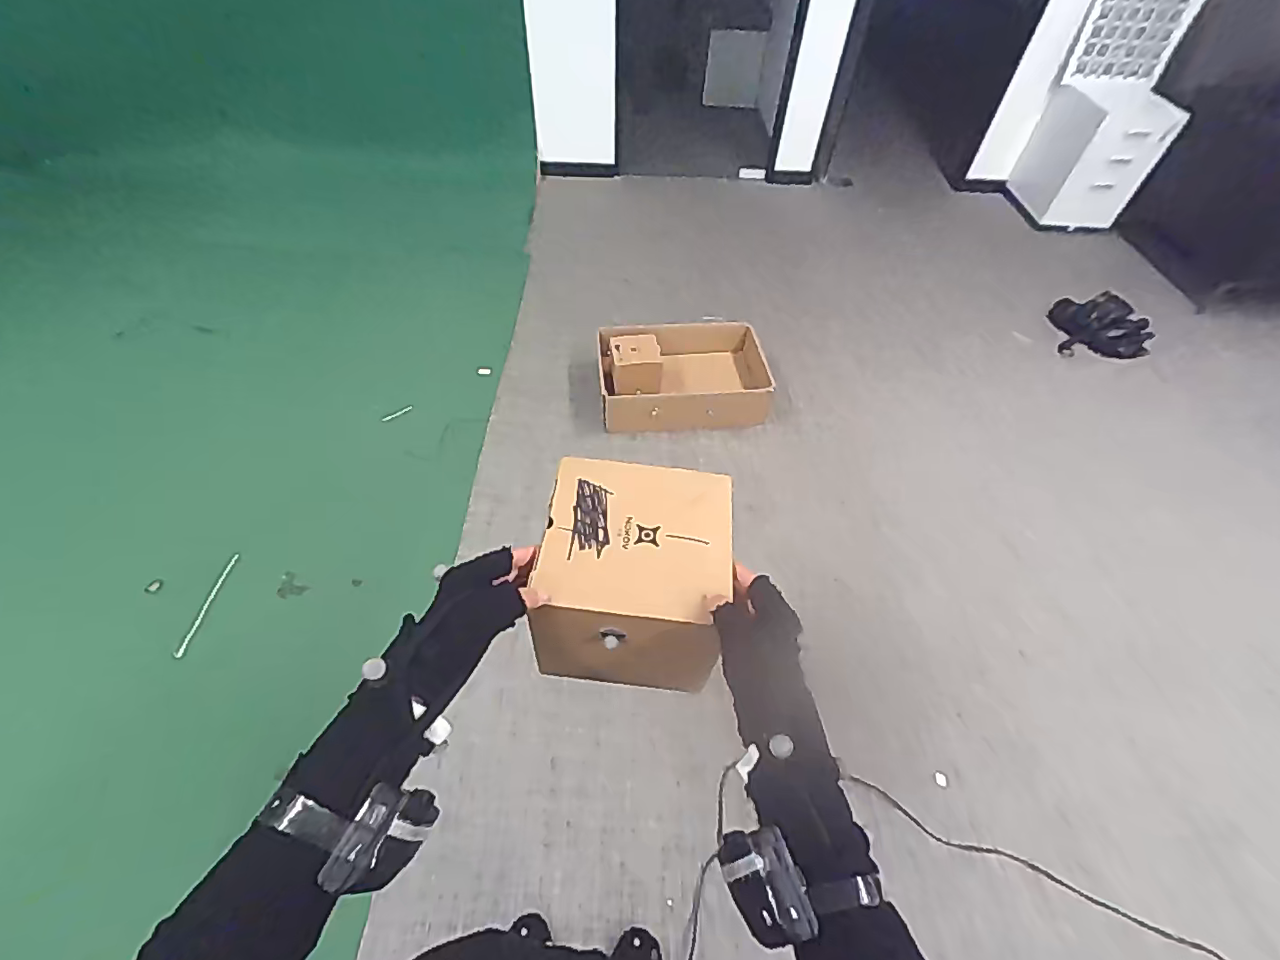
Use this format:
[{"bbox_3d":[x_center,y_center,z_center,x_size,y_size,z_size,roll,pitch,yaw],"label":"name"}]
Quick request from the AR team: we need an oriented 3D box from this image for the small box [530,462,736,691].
[{"bbox_3d":[-0.004,0.104,0.558,0.179,0.176,0.168,7,51,-1],"label":"small box"}]

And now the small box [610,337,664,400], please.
[{"bbox_3d":[-0.018,-0.417,2.029,0.179,0.176,0.168,-5,51,-9],"label":"small box"}]
